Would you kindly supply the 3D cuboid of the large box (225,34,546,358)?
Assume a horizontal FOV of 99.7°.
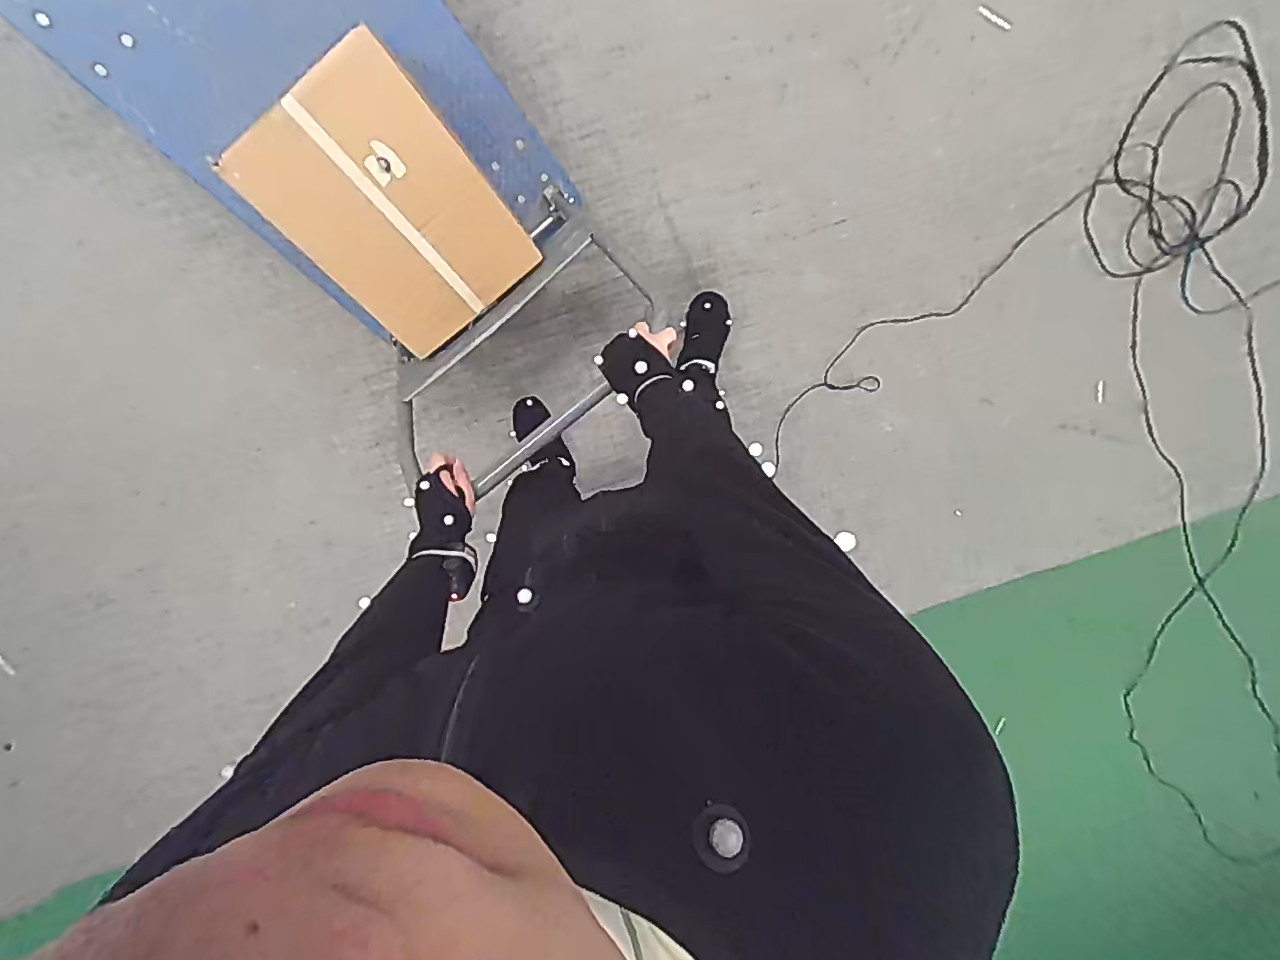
[{"bbox_3d":[-0.438,-0.518,1.027,0.320,0.320,0.408,-37,127,8],"label":"large box"}]
